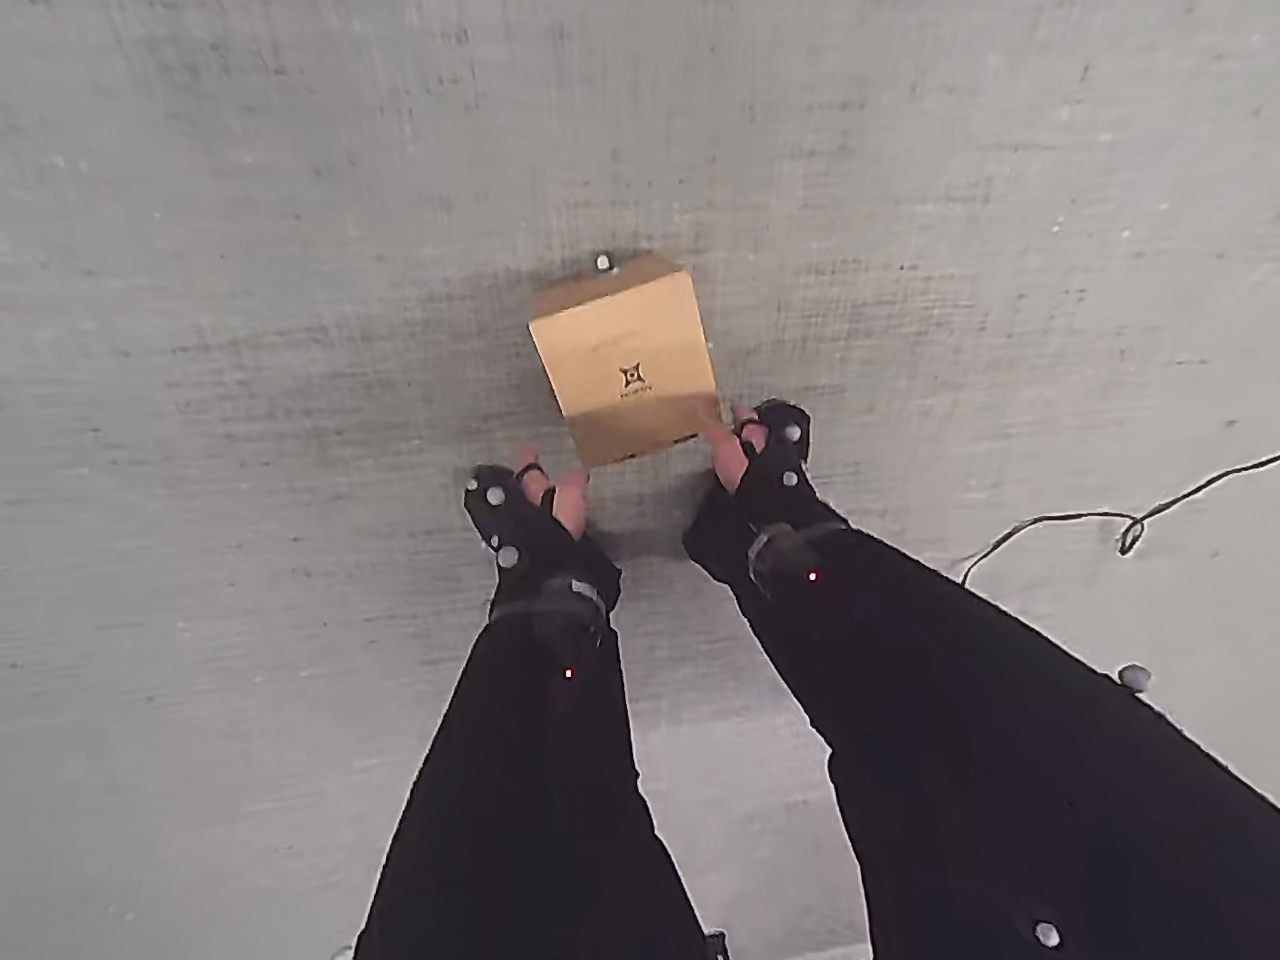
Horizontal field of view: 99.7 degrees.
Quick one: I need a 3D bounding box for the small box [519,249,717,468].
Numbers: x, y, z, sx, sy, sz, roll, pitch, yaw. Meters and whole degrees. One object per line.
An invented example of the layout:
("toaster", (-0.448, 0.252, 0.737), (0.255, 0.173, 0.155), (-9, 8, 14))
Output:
("small box", (-0.025, -0.146, 0.621), (0.168, 0.176, 0.179), (-19, 120, 1))
